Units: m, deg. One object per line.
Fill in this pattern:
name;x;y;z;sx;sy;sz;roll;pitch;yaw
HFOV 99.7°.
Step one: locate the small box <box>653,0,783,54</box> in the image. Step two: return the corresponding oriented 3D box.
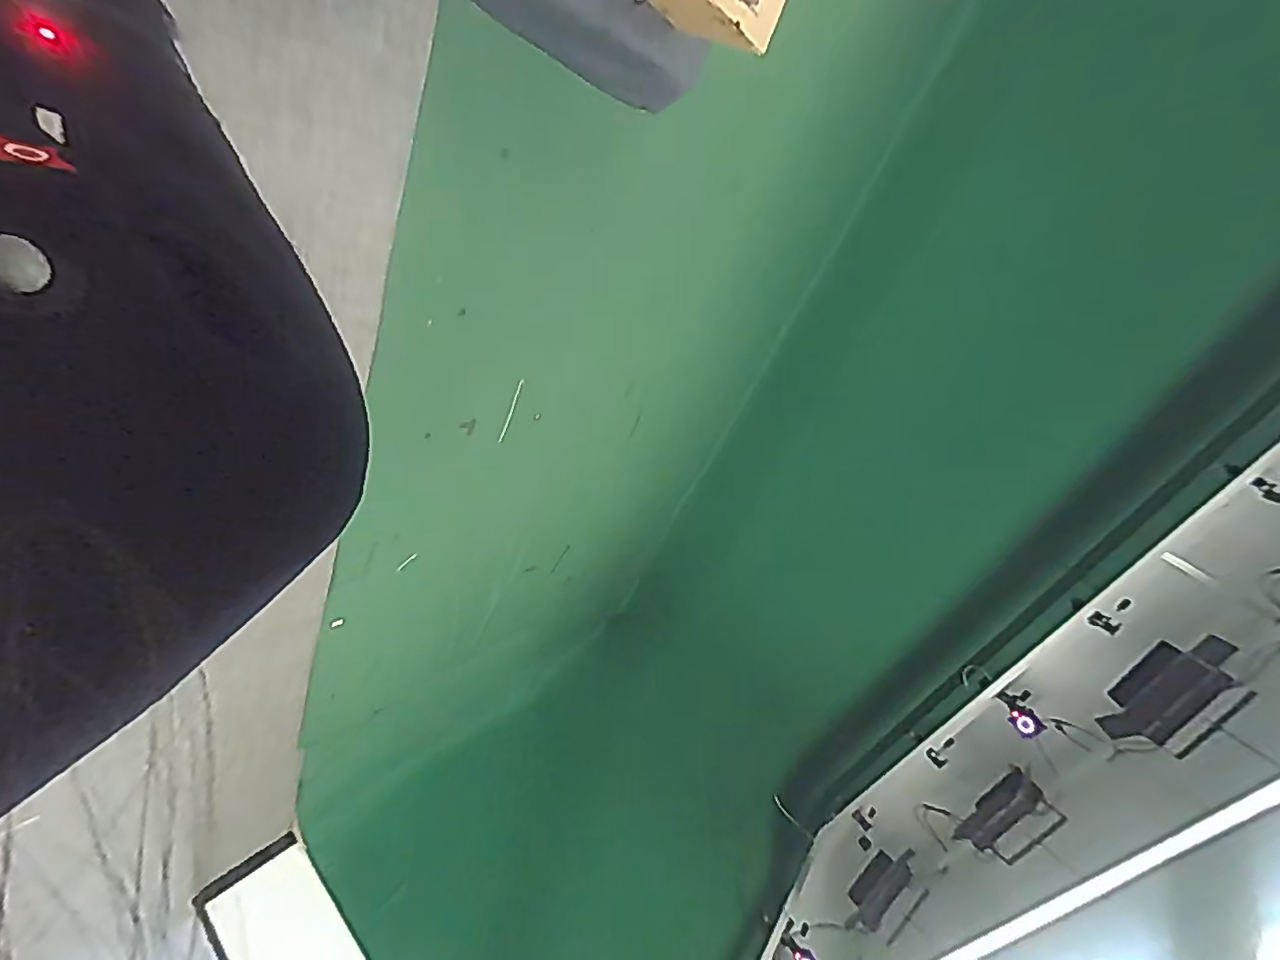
small box;0.099;-0.713;0.707;0.168;0.176;0.179;-18;140;-53
